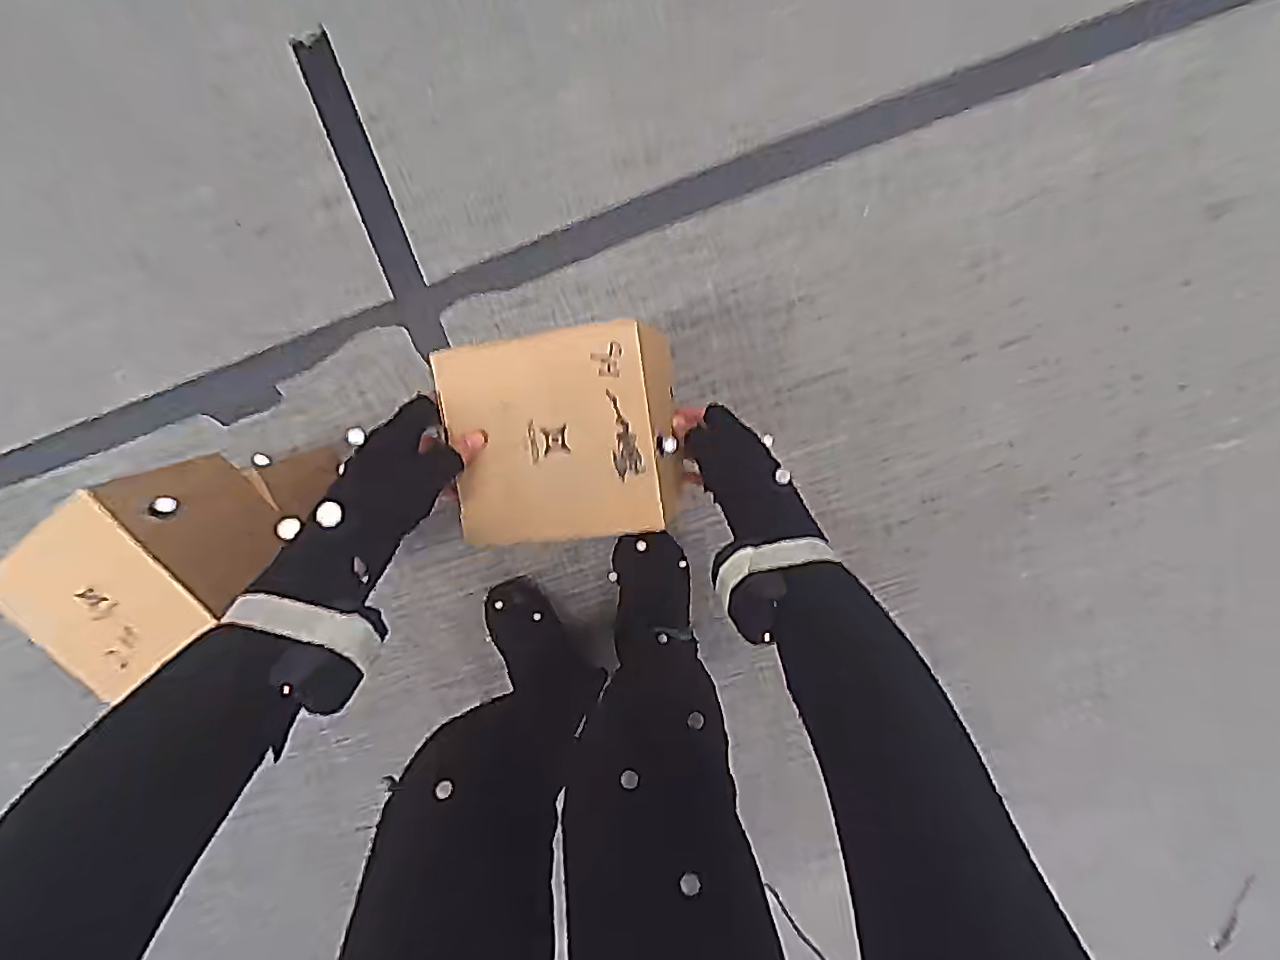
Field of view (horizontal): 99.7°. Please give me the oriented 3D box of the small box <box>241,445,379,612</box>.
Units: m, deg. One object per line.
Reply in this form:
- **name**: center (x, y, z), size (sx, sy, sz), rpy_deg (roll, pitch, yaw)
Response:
- **small box**: center (-0.511, 0.067, 0.769), size (0.168, 0.176, 0.179), rpy_deg (-19, 103, 6)

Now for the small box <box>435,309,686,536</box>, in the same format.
- **small box**: center (-0.061, -0.053, 0.520), size (0.179, 0.176, 0.168), rpy_deg (-9, 97, 12)

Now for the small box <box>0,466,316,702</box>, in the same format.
- **small box**: center (-0.522, 0.100, 0.608), size (0.168, 0.176, 0.179), rpy_deg (-32, 104, 10)
